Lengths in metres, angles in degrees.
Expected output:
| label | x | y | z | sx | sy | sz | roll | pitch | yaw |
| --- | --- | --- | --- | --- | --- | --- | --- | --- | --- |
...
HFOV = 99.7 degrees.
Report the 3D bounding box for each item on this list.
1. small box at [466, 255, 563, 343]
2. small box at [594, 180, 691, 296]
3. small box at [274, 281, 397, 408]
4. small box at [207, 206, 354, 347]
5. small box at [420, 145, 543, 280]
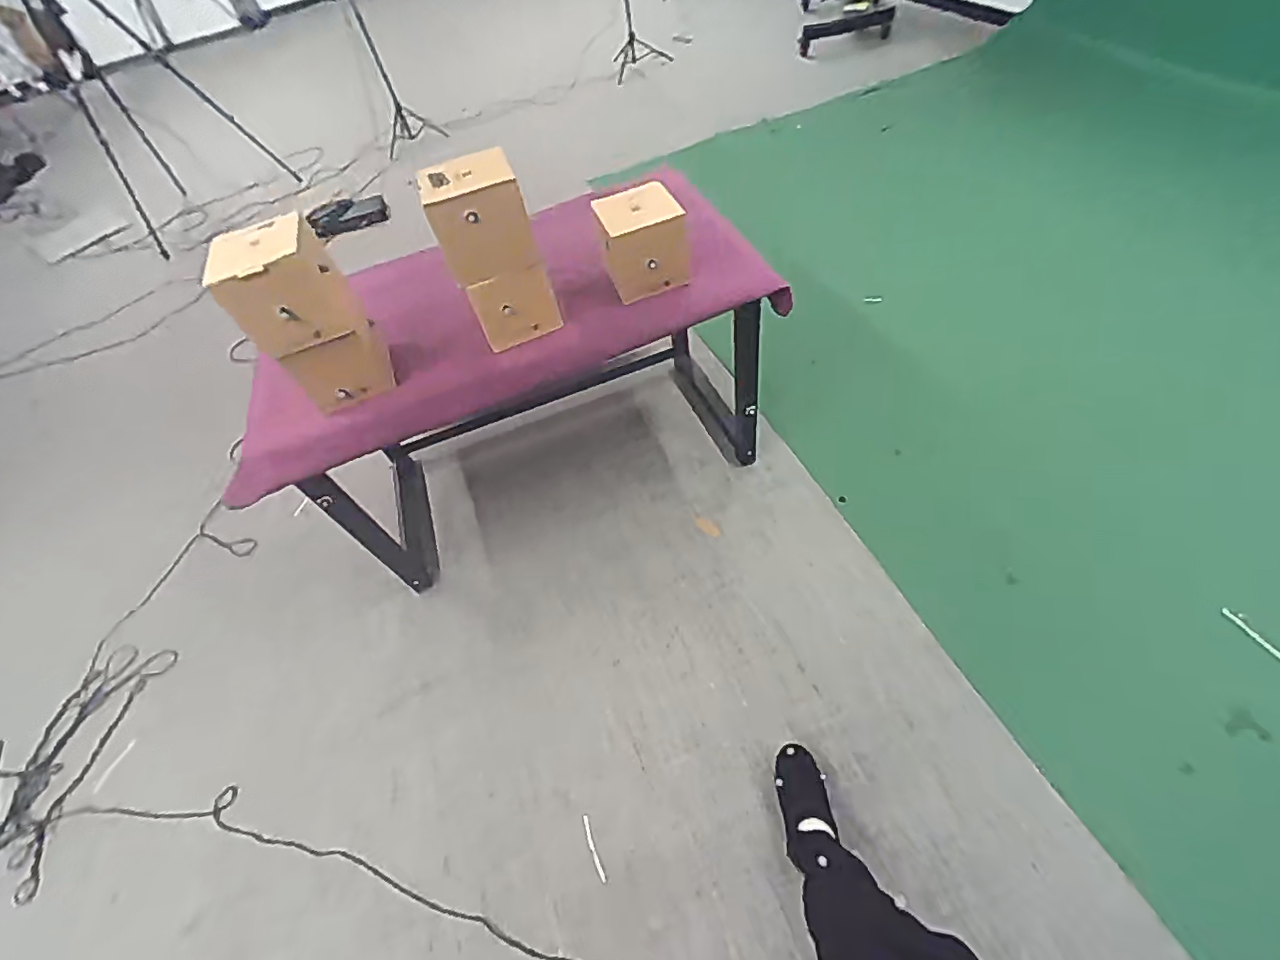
| label | x | y | z | sx | sy | sz | roll | pitch | yaw |
| --- | --- | --- | --- | --- | --- | --- | --- | --- | --- |
| small box | -0.285 | -0.426 | 1.198 | 0.168 | 0.176 | 0.179 | -23 | 52 | -7 |
| small box | 0.009 | -0.539 | 1.225 | 0.168 | 0.176 | 0.179 | -19 | 52 | -4 |
| small box | -0.646 | -0.287 | 1.158 | 0.168 | 0.176 | 0.179 | -23 | 54 | -7 |
| small box | -0.665 | -0.375 | 1.021 | 0.168 | 0.176 | 0.179 | -21 | 54 | -6 |
| small box | -0.309 | -0.523 | 1.067 | 0.179 | 0.176 | 0.168 | -20 | 52 | -5 |
